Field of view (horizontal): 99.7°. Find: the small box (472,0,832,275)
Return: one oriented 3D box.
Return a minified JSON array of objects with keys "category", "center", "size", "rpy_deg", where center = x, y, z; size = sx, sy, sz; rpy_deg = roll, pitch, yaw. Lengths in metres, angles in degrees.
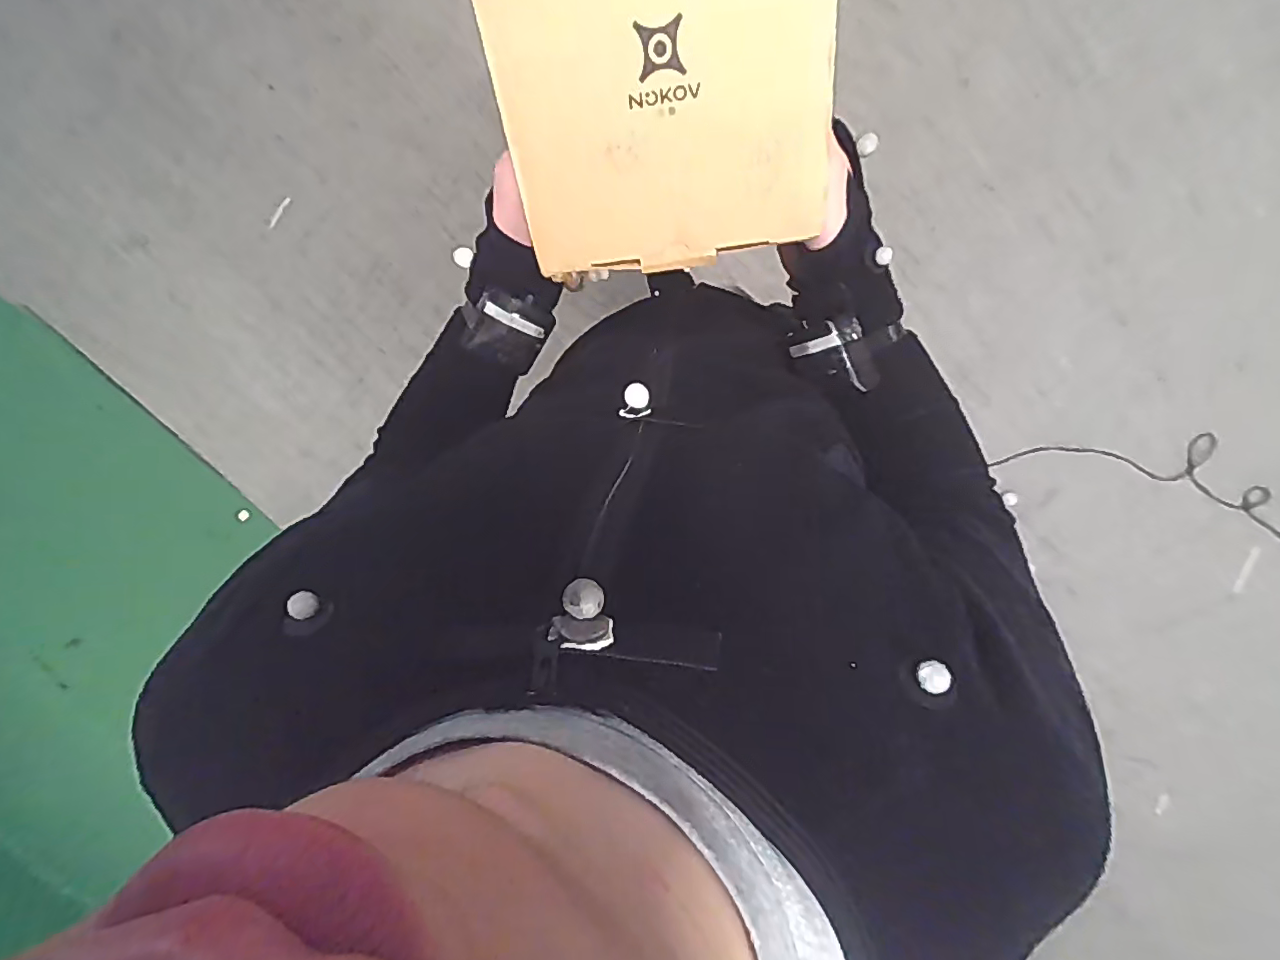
[{"category":"small box","center":[0.012,-0.247,0.326],"size":[0.168,0.176,0.179],"rpy_deg":[-6,128,6]}]
